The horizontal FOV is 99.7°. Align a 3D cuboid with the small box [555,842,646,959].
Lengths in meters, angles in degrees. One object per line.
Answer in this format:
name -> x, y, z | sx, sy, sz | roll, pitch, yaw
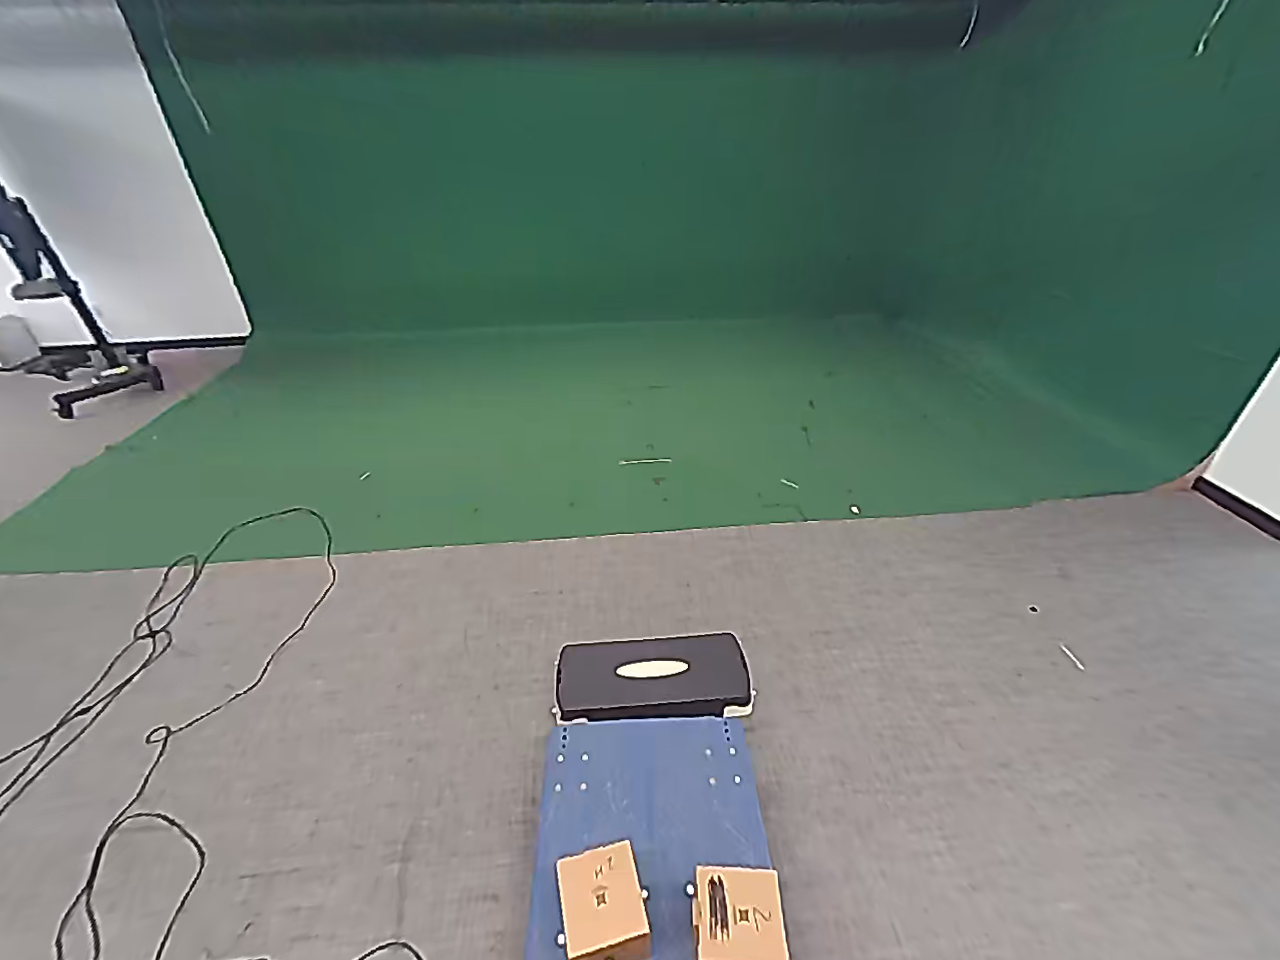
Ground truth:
small box -> -0.085, 0.928, 1.162 | 0.168, 0.176, 0.179 | -8, 35, -12
